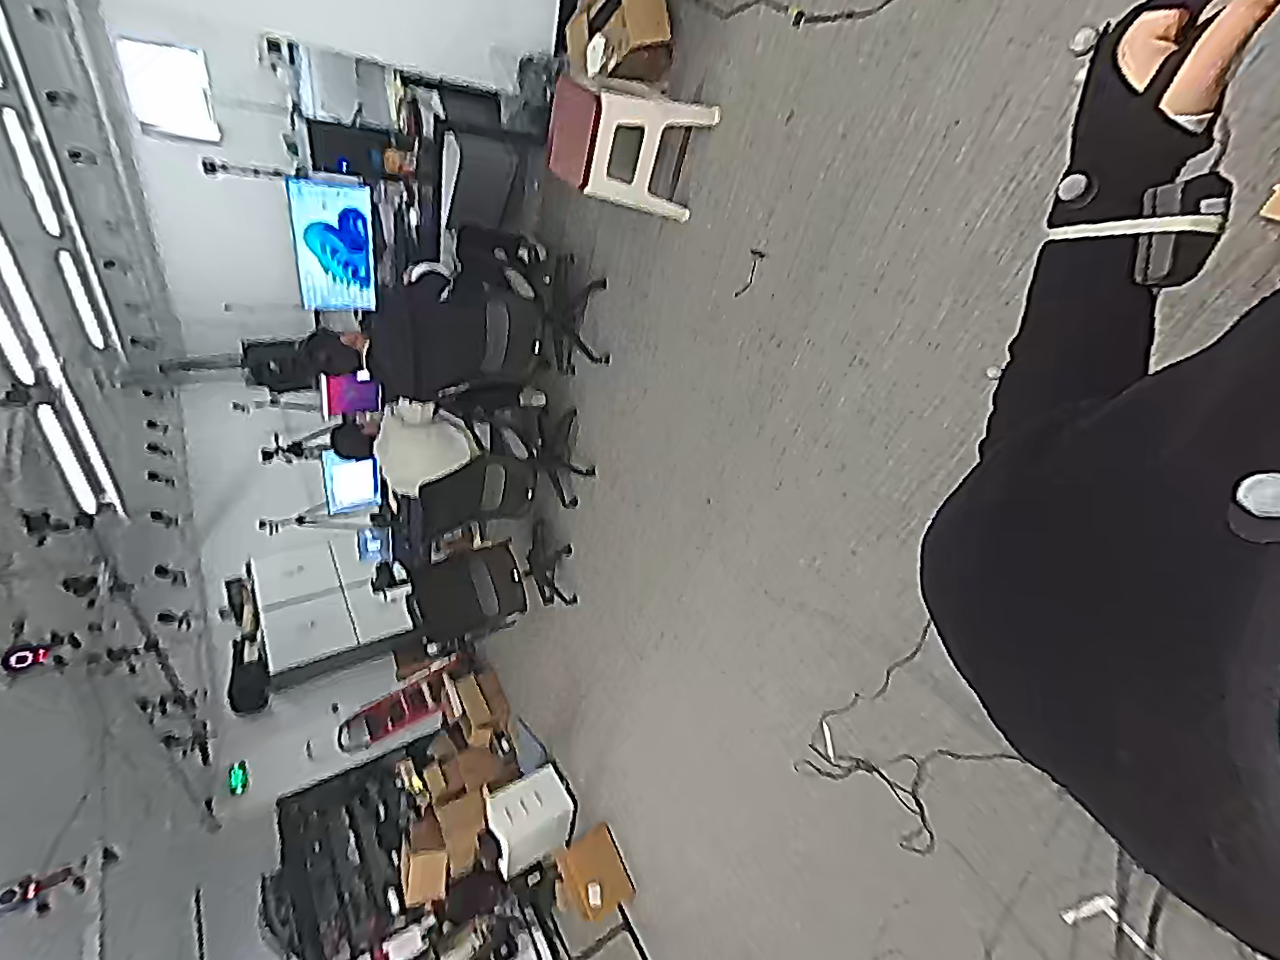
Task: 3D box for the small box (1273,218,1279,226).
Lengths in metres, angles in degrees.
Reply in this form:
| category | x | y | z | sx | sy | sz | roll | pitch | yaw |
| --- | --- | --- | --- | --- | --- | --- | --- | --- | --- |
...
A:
| category | x | y | z | sx | sy | sz | roll | pitch | yaw |
| --- | --- | --- | --- | --- | --- | --- | --- | --- | --- |
| small box | 1.137 | -0.448 | 0.815 | 0.168 | 0.176 | 0.179 | 47 | 136 | 37 |

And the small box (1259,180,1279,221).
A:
| category | x | y | z | sx | sy | sz | roll | pitch | yaw |
| --- | --- | --- | --- | --- | --- | --- | --- | --- | --- |
| small box | 1.008 | -0.425 | 0.722 | 0.168 | 0.176 | 0.179 | 42 | 131 | 38 |
